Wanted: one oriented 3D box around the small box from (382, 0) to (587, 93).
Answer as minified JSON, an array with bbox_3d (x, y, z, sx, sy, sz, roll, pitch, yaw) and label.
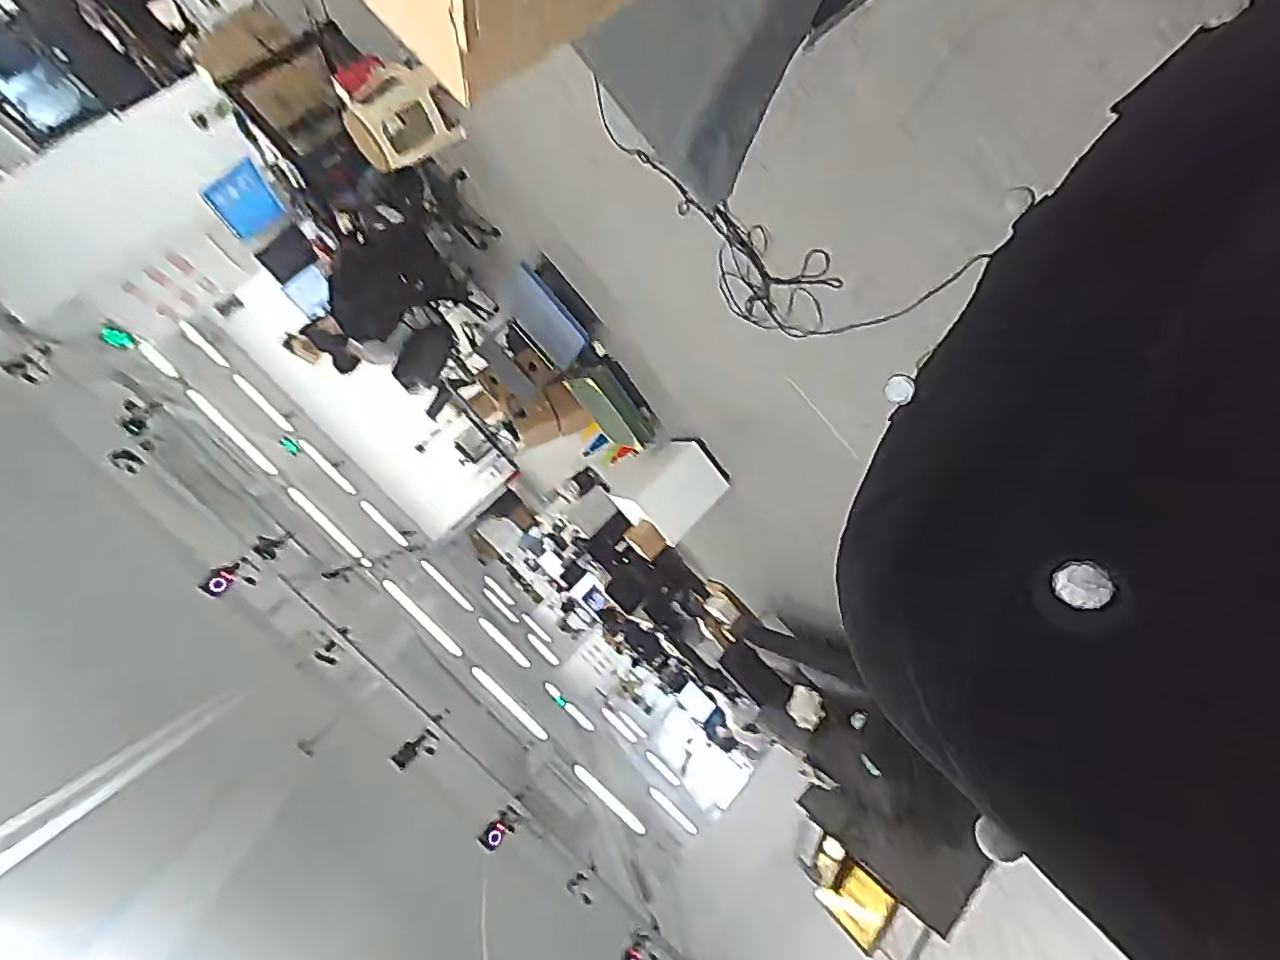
[{"bbox_3d":[-0.133,-0.469,0.418,0.179,0.176,0.168,46,165,-4],"label":"small box"}]
